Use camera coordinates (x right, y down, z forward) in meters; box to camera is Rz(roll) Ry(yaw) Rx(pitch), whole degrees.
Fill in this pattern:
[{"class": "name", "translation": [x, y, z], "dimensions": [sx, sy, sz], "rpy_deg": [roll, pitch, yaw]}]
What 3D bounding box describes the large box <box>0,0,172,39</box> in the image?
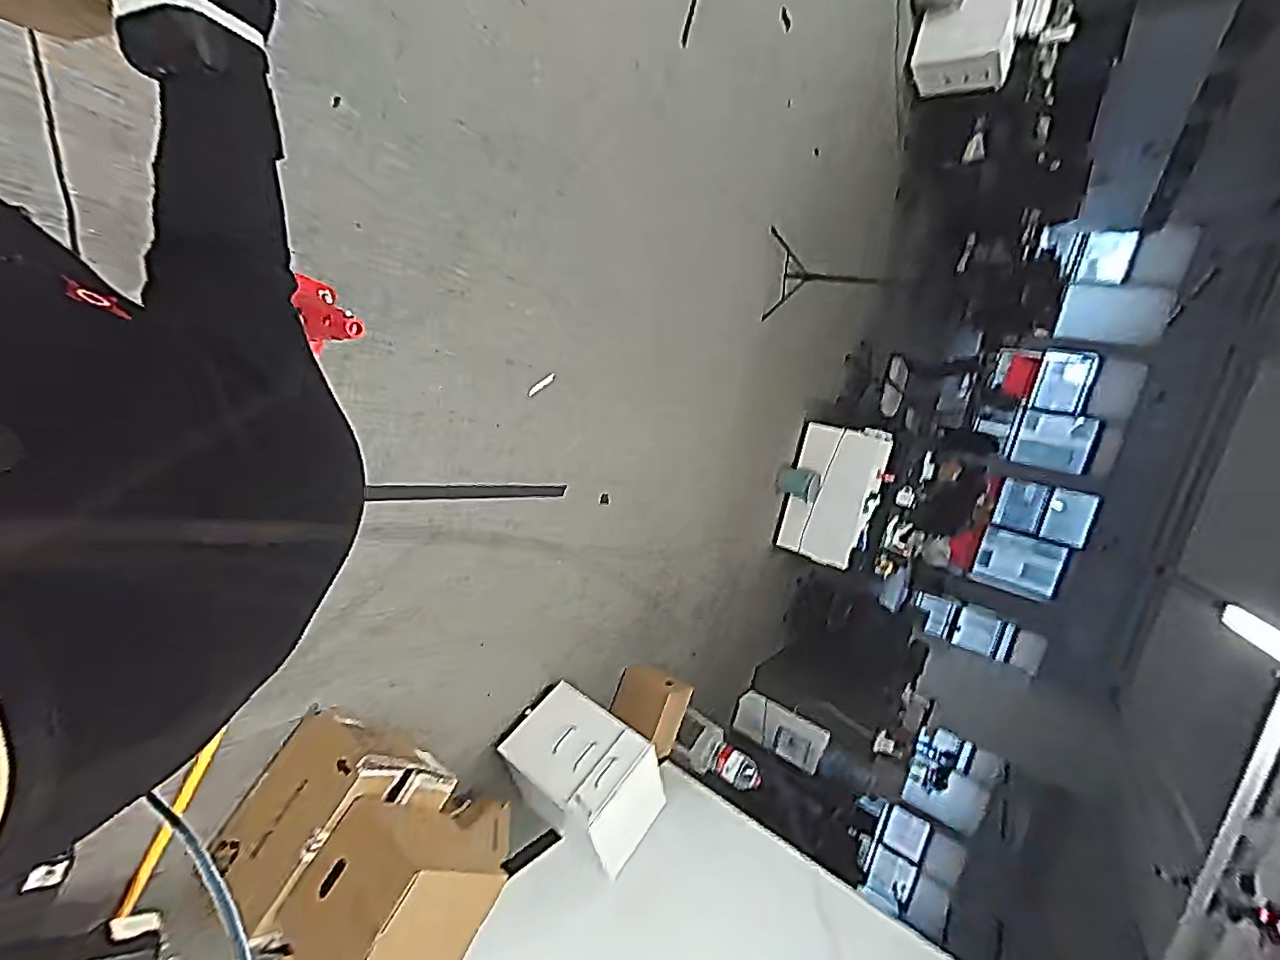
[{"class": "large box", "translation": [-0.520, -0.480, 0.242], "dimensions": [0.408, 0.320, 0.320], "rpy_deg": [-12, 123, -53]}]
